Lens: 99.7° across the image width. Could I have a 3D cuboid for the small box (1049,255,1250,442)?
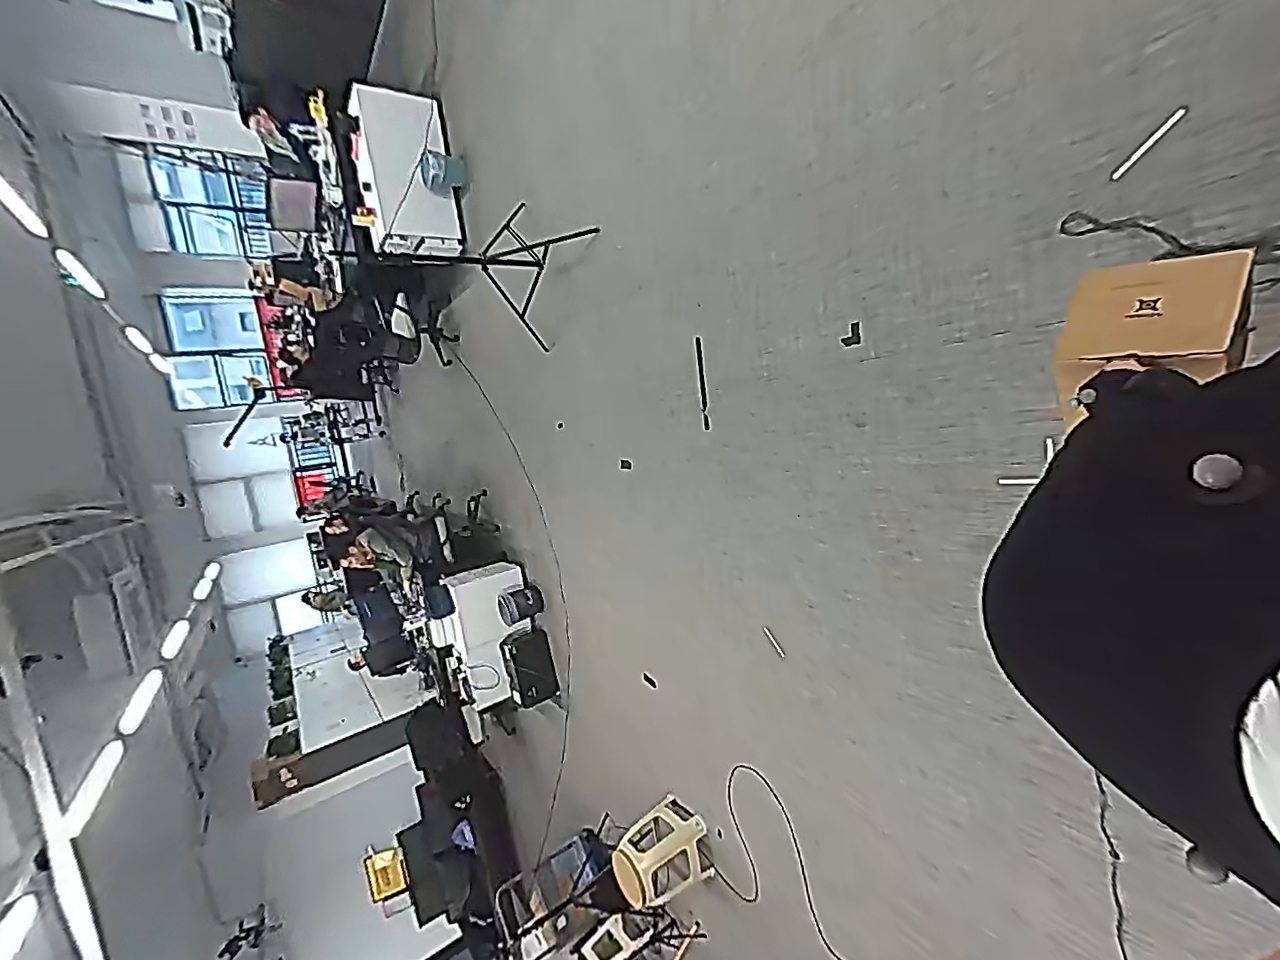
[{"bbox_3d":[0.696,-0.171,0.742,0.168,0.179,0.176,12,153,49],"label":"small box"}]
